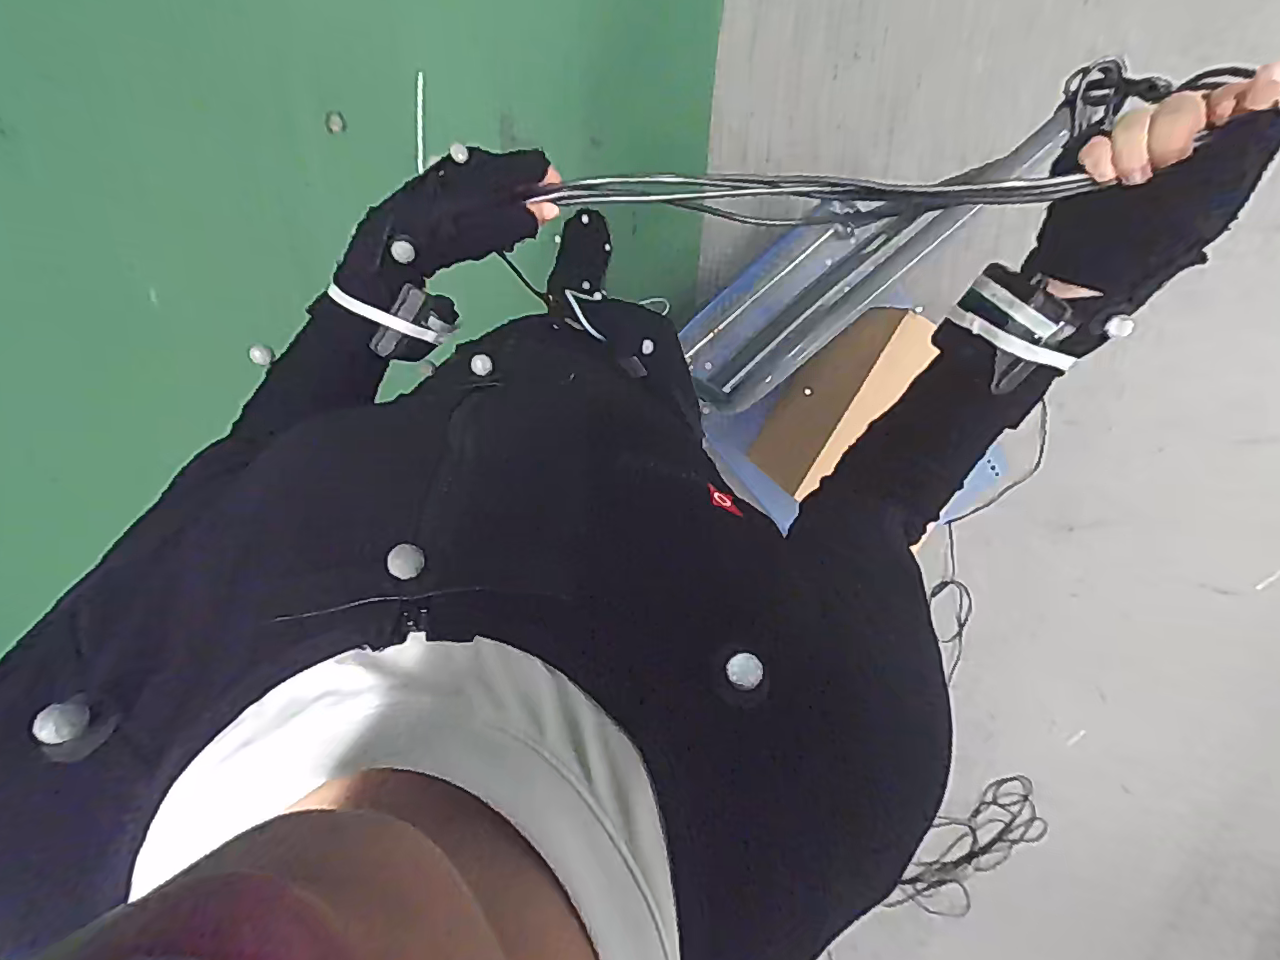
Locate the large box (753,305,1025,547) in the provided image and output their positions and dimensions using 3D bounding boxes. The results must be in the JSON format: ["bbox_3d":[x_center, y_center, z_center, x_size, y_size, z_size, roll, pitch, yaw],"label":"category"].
[{"bbox_3d":[0.513,-0.130,1.200,0.320,0.320,0.408,25,103,-14],"label":"large box"}]
